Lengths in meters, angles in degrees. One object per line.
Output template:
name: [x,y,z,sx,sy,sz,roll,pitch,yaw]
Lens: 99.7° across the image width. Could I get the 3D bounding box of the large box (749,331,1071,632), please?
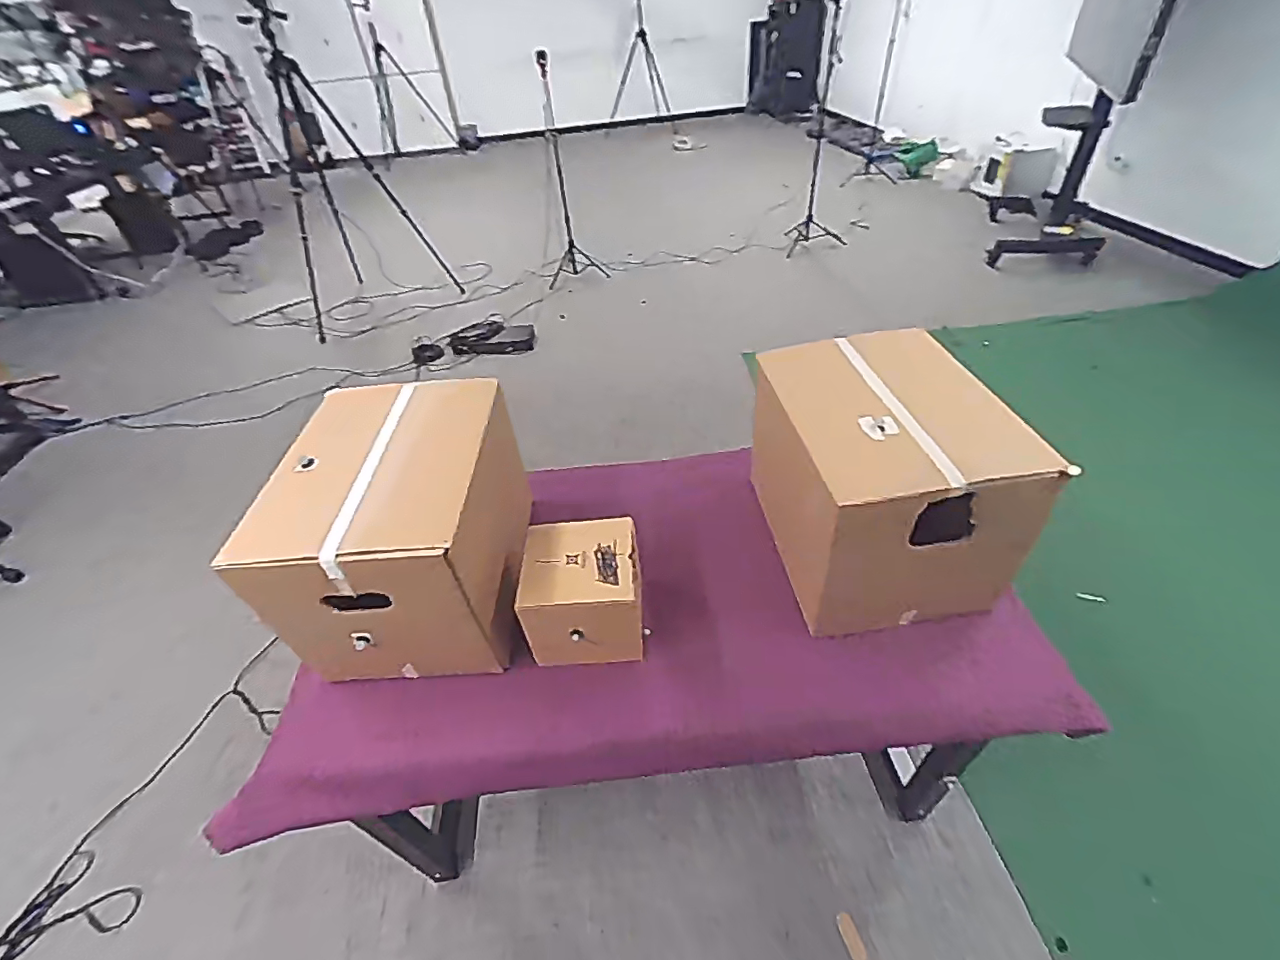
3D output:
large box: [0.395,-0.009,0.936,0.320,0.320,0.408,-9,43,0]
